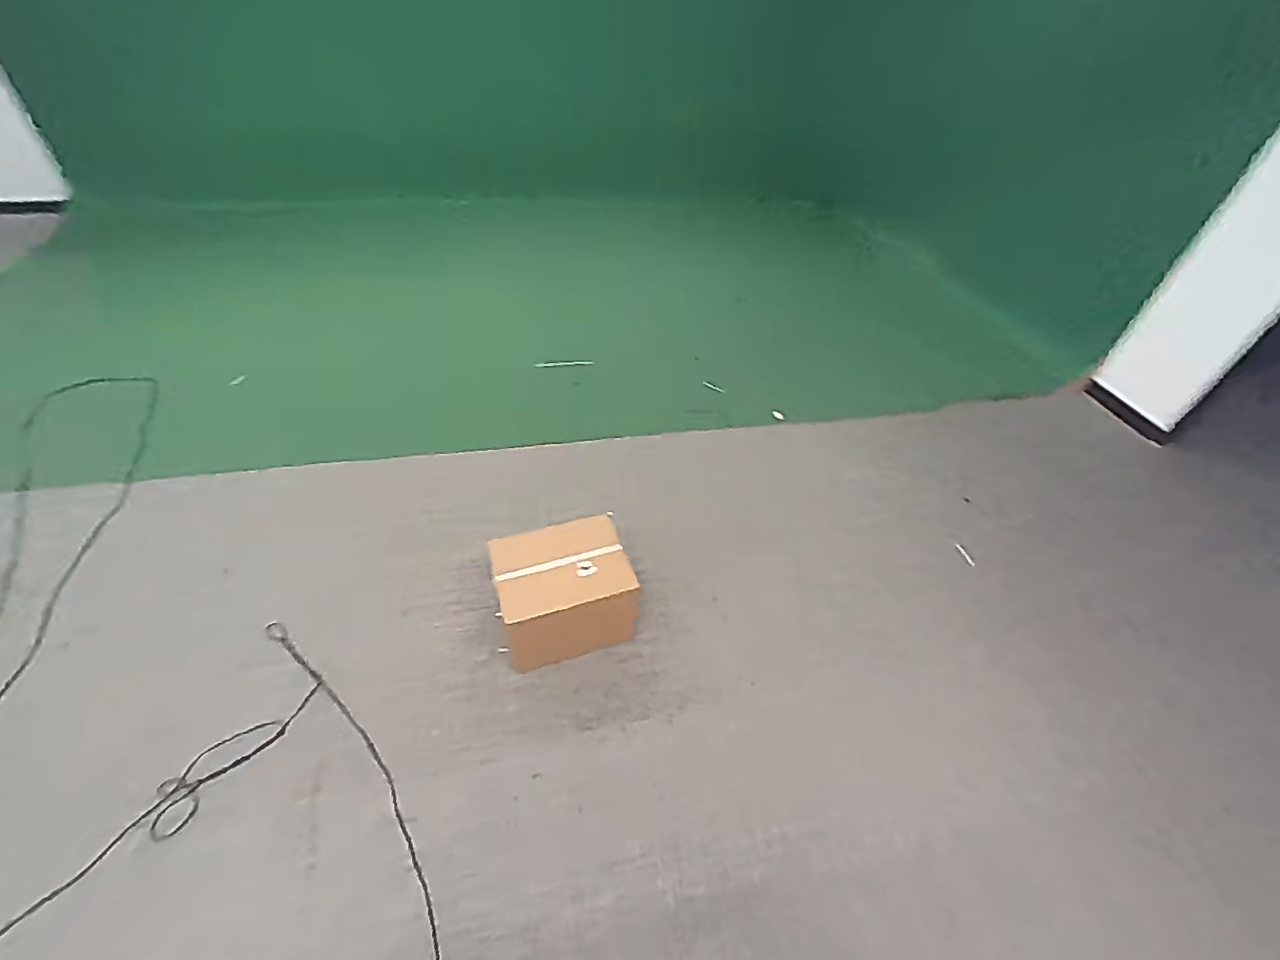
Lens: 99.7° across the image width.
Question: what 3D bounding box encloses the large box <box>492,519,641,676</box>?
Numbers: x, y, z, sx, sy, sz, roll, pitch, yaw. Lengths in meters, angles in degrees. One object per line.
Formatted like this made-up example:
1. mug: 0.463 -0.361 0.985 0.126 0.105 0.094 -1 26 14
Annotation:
1. large box: -0.240 0.377 1.763 0.408 0.320 0.320 -12 46 -17
